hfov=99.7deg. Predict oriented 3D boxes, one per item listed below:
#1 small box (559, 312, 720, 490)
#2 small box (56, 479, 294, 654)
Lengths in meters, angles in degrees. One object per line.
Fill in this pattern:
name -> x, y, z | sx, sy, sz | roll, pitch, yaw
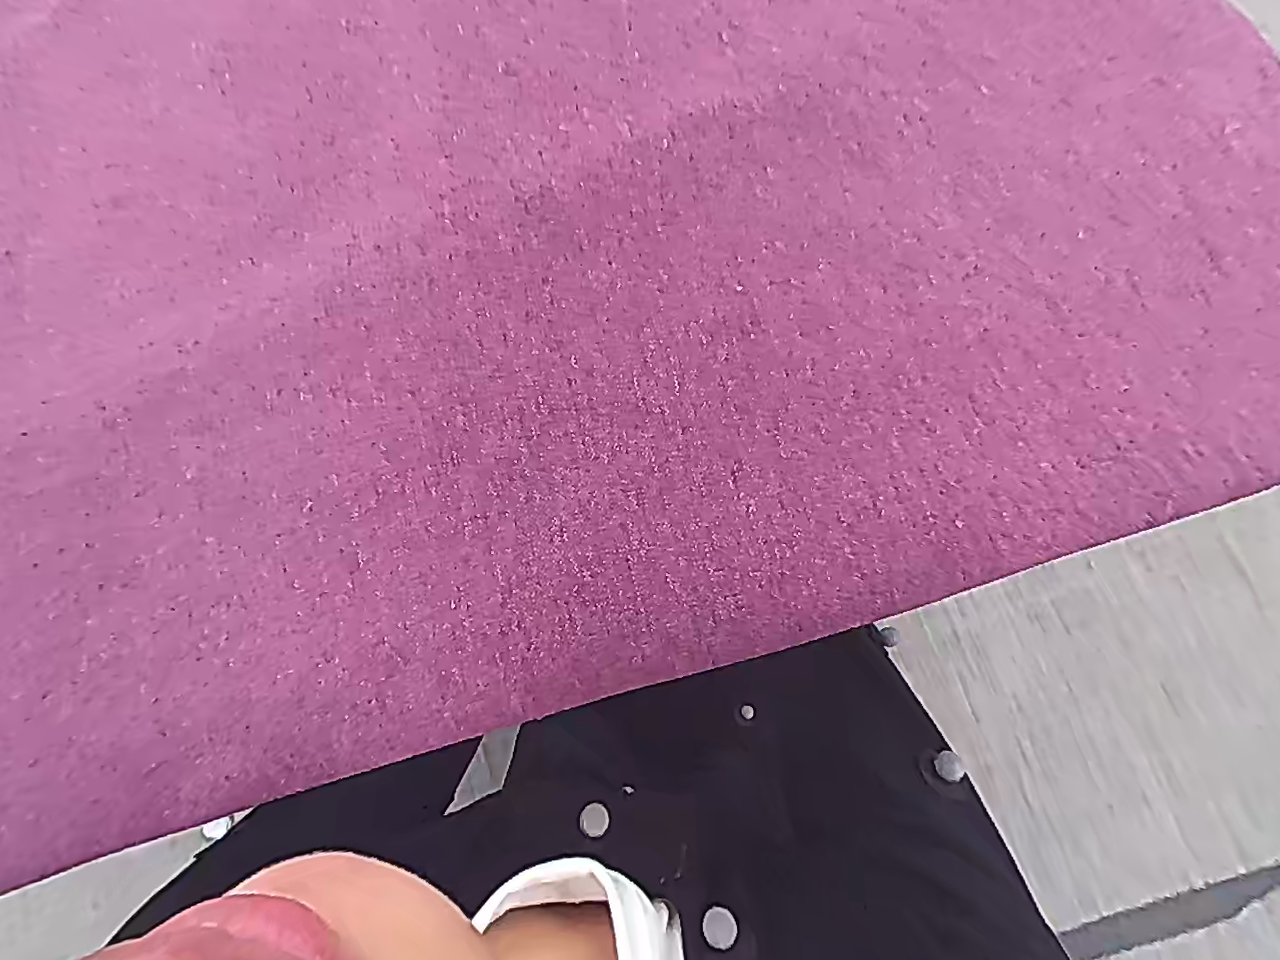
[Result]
small box -> 0.000, -0.097, 0.745 | 0.168, 0.176, 0.179 | -16, 82, 0
small box -> -0.611, 0.115, 0.731 | 0.168, 0.176, 0.179 | -18, 82, -2
